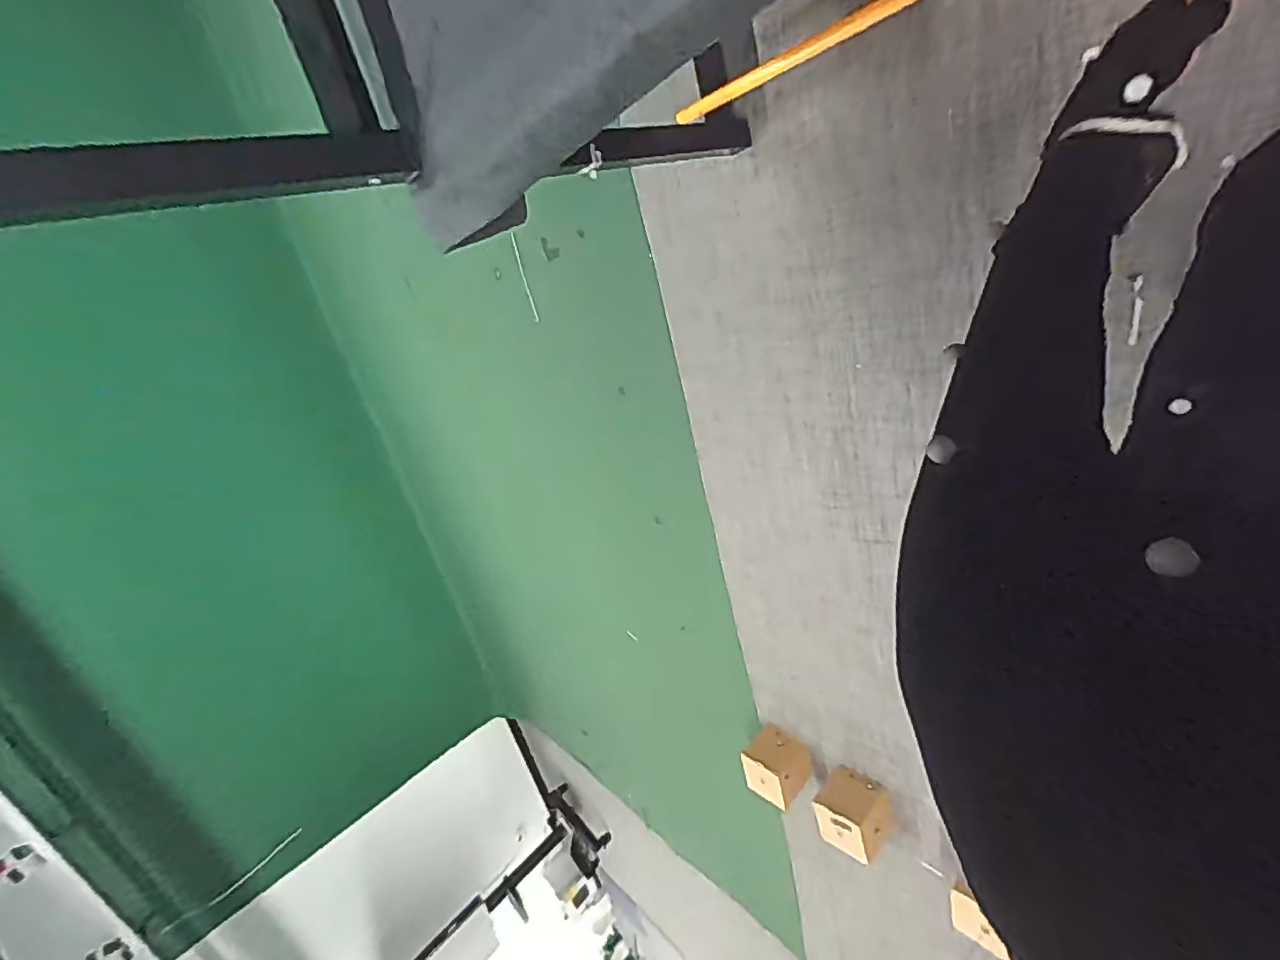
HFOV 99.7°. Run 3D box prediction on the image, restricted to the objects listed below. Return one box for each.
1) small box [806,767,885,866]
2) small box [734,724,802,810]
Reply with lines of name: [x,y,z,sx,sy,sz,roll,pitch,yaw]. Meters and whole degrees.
small box: [0.659,1.066,1.731,0.168,0.176,0.179,4,118,50]
small box: [0.465,1.027,1.947,0.168,0.176,0.179,9,120,47]
